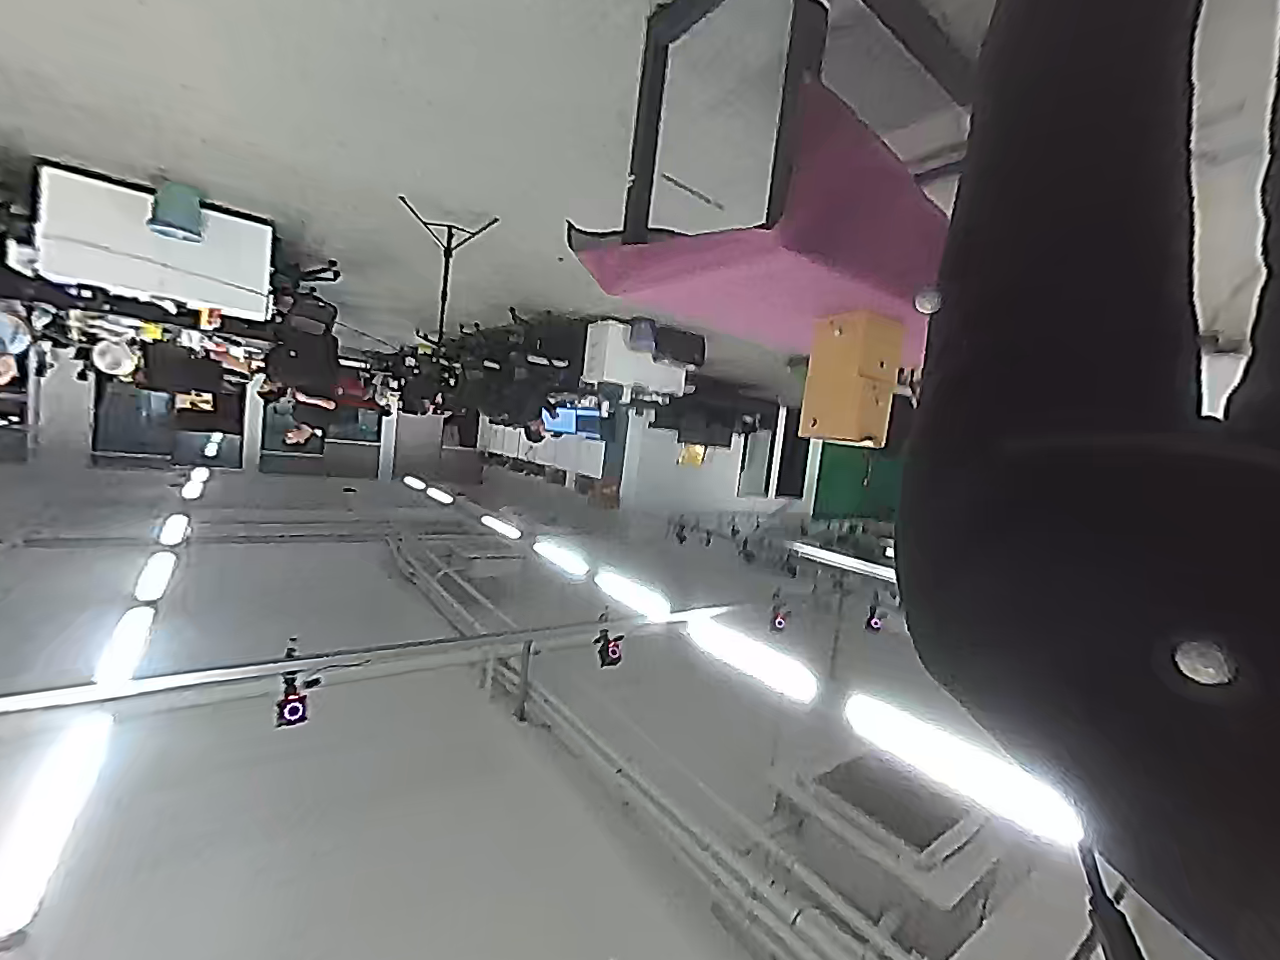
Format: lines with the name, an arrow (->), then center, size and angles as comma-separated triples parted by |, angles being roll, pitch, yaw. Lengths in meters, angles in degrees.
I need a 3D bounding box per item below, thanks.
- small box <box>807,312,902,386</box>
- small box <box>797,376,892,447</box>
small box -> 0.588, -0.354, 1.477 | 0.179, 0.176, 0.168 | 5, -175, -33
small box -> 0.566, -0.191, 1.493 | 0.168, 0.176, 0.179 | 3, -174, -39
